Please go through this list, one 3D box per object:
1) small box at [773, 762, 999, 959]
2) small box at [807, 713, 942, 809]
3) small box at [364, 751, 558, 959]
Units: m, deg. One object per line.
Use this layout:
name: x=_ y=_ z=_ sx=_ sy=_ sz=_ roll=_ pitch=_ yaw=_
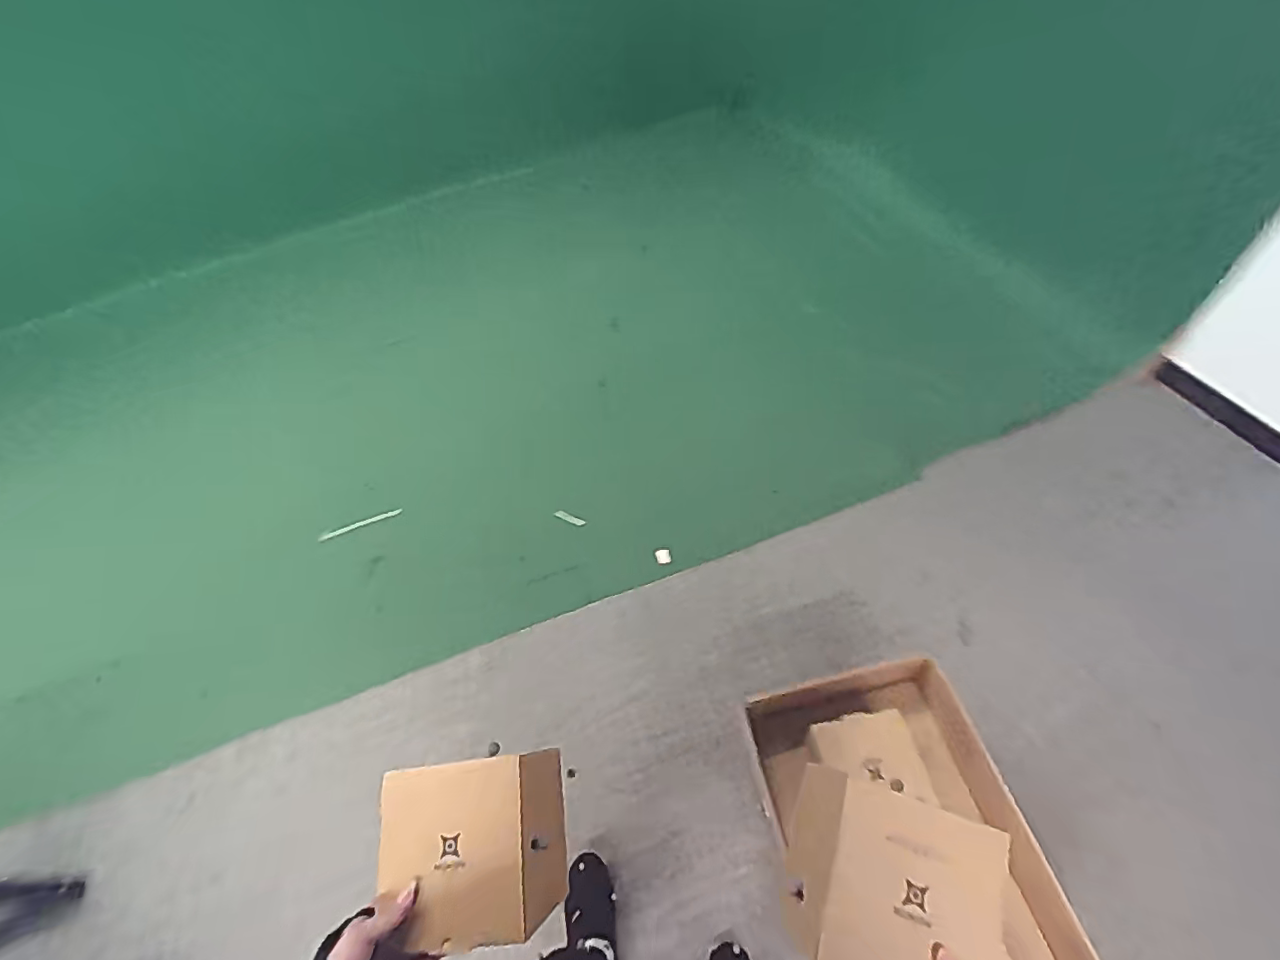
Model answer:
small box: x=0.255 y=0.434 z=0.594 sx=0.168 sy=0.176 sz=0.179 roll=18 pitch=67 yaw=8
small box: x=0.416 y=0.551 z=0.989 sx=0.168 sy=0.176 sz=0.179 roll=-12 pitch=52 yaw=2
small box: x=-0.203 y=0.435 z=0.656 sx=0.168 sy=0.176 sz=0.179 roll=-10 pitch=66 yaw=3
